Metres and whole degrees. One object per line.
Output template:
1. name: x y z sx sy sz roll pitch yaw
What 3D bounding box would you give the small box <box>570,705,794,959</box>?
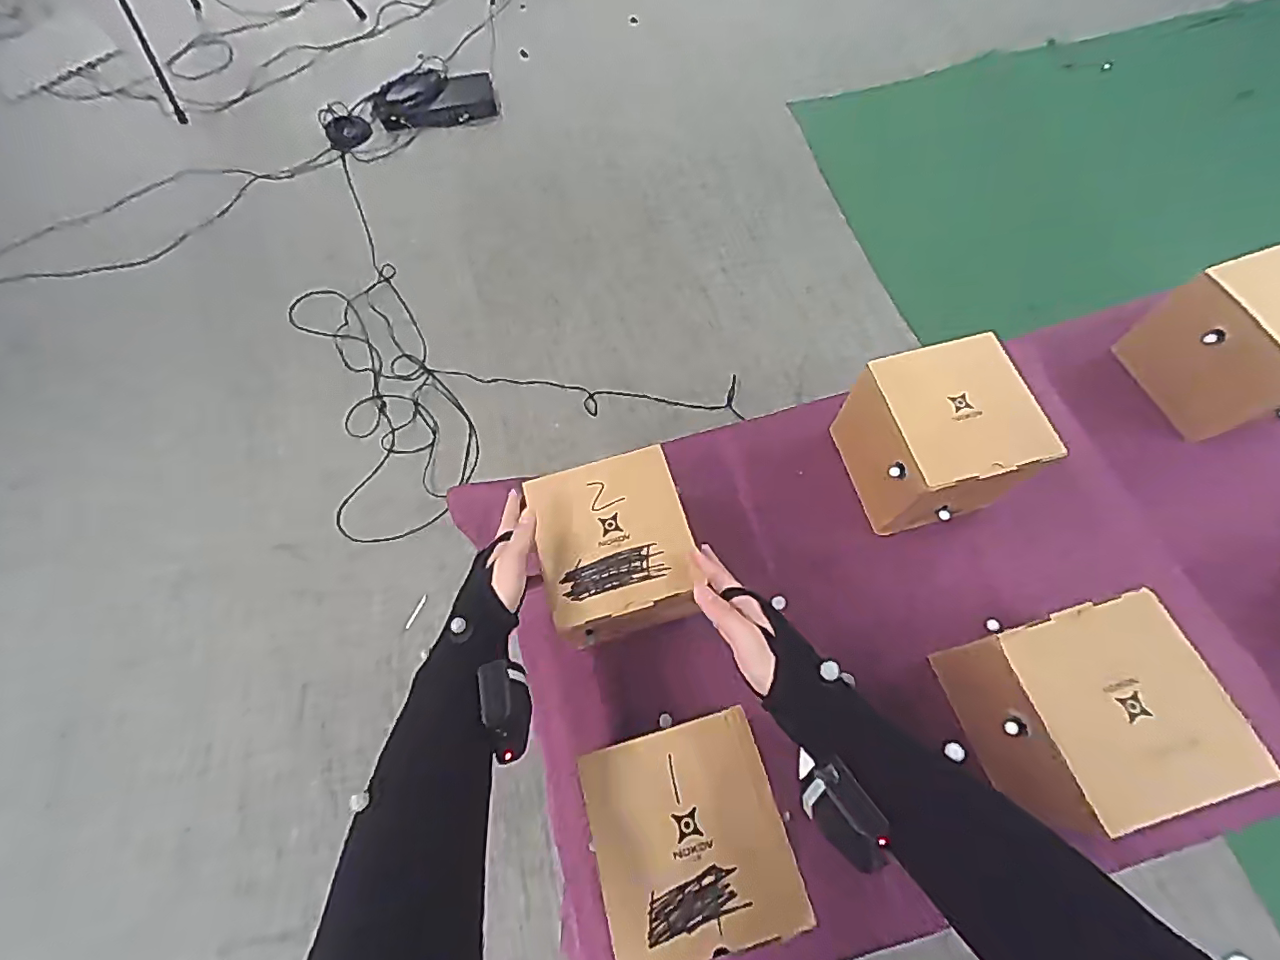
1. small box: 0.040 0.343 0.556 0.168 0.176 0.179 -16 65 -2

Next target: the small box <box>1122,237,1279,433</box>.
1. small box: 0.804 -0.189 0.707 0.168 0.176 0.179 -18 68 0

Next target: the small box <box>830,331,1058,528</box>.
1. small box: 0.367 -0.058 0.698 0.168 0.176 0.179 -14 69 -2

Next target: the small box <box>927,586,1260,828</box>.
1. small box: 0.441 0.233 0.569 0.168 0.176 0.179 -16 66 -1
